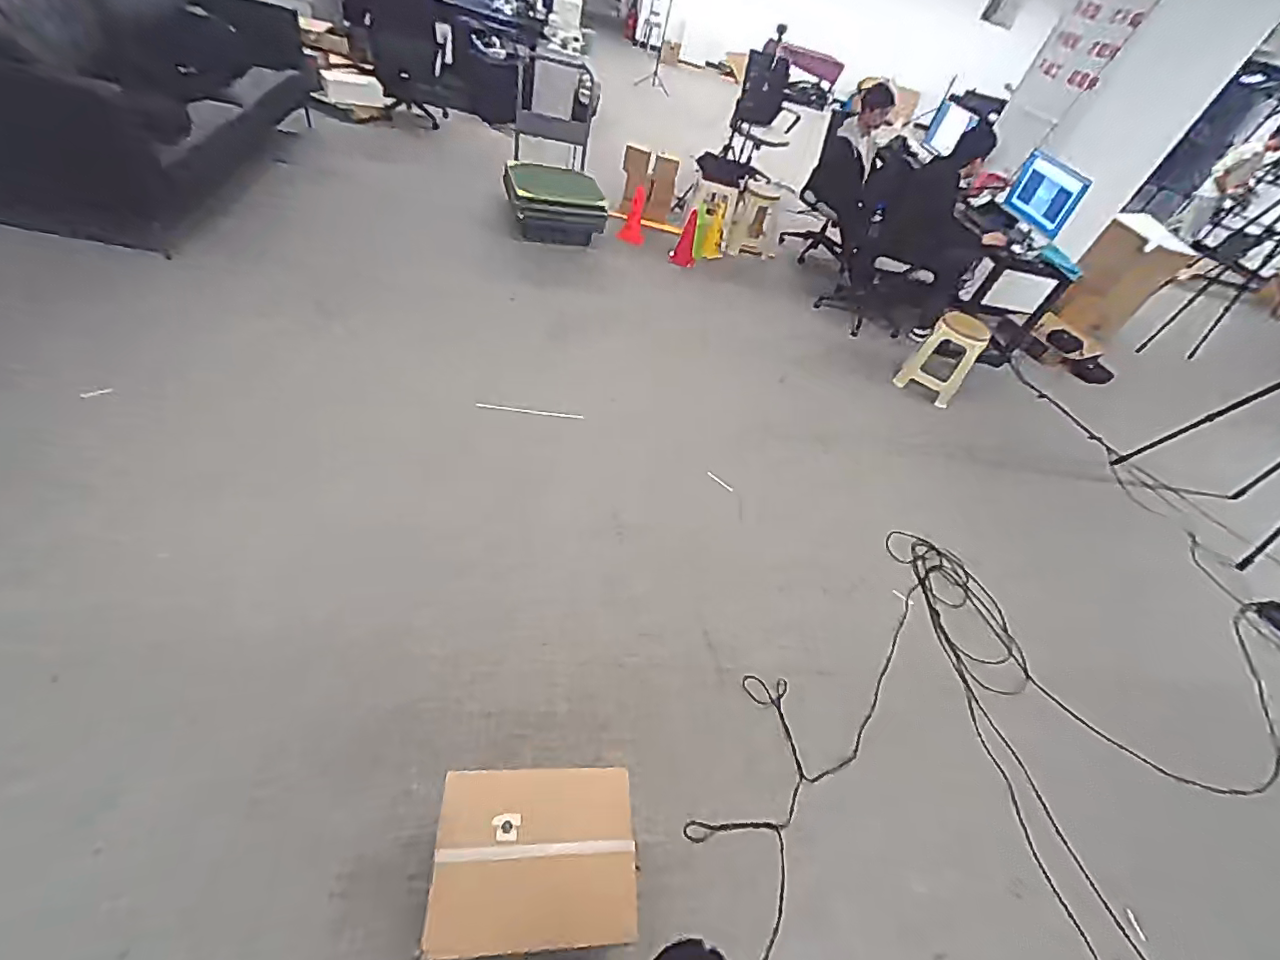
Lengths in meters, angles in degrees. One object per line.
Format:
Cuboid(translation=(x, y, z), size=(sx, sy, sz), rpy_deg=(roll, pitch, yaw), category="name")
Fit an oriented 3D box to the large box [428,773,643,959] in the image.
Cuboid(translation=(-0.231, 0.879, 1.207), size=(0.408, 0.320, 0.320), rpy_deg=(5, 44, -13), category="large box")
